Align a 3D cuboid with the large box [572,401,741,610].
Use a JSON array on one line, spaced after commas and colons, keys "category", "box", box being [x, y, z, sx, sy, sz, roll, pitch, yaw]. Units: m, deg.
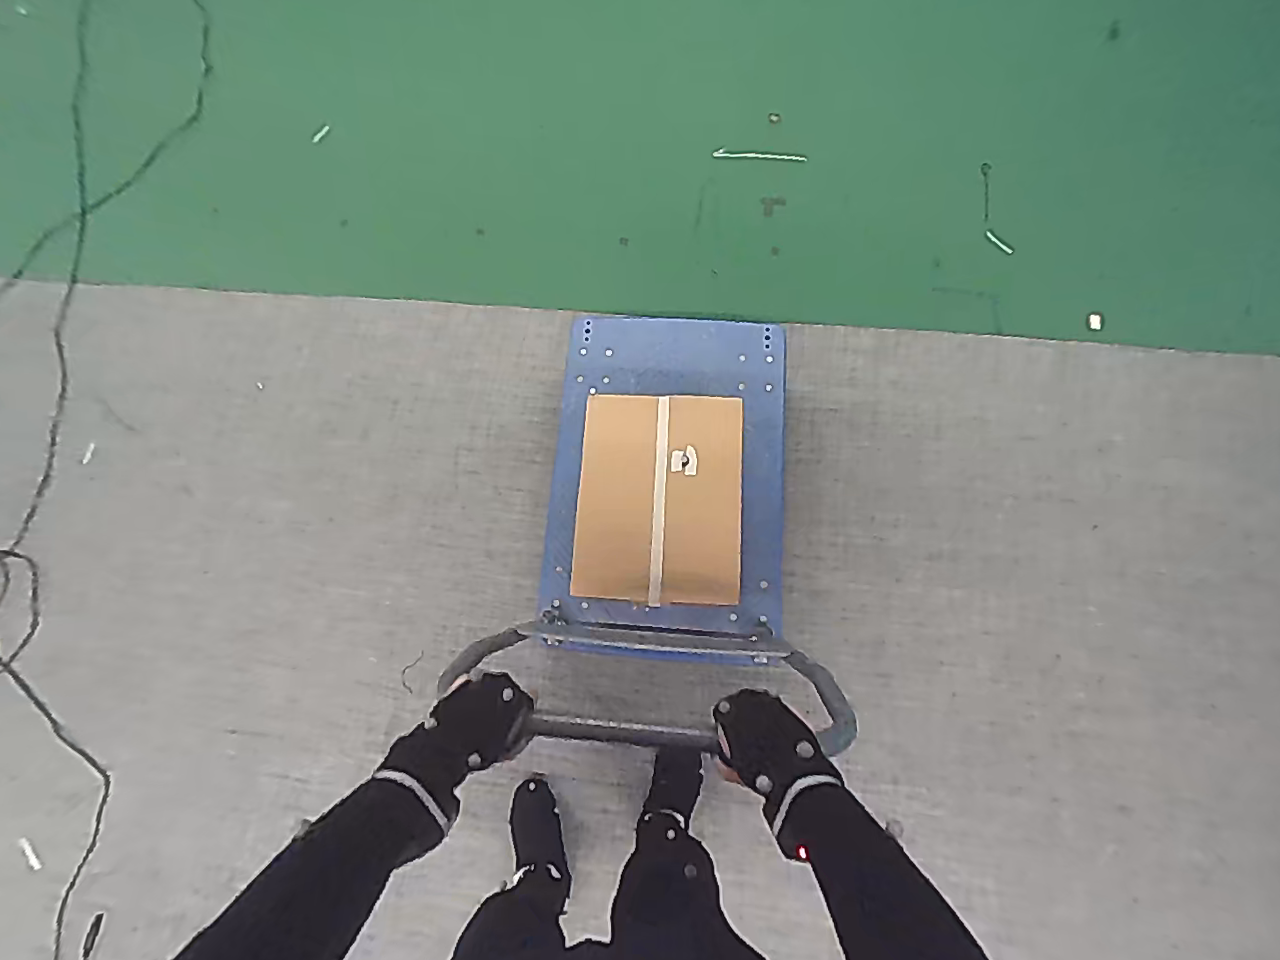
[{"category": "large box", "box": [0.046, 0.074, 1.177, 0.320, 0.320, 0.408, 2, 76, 4]}]
